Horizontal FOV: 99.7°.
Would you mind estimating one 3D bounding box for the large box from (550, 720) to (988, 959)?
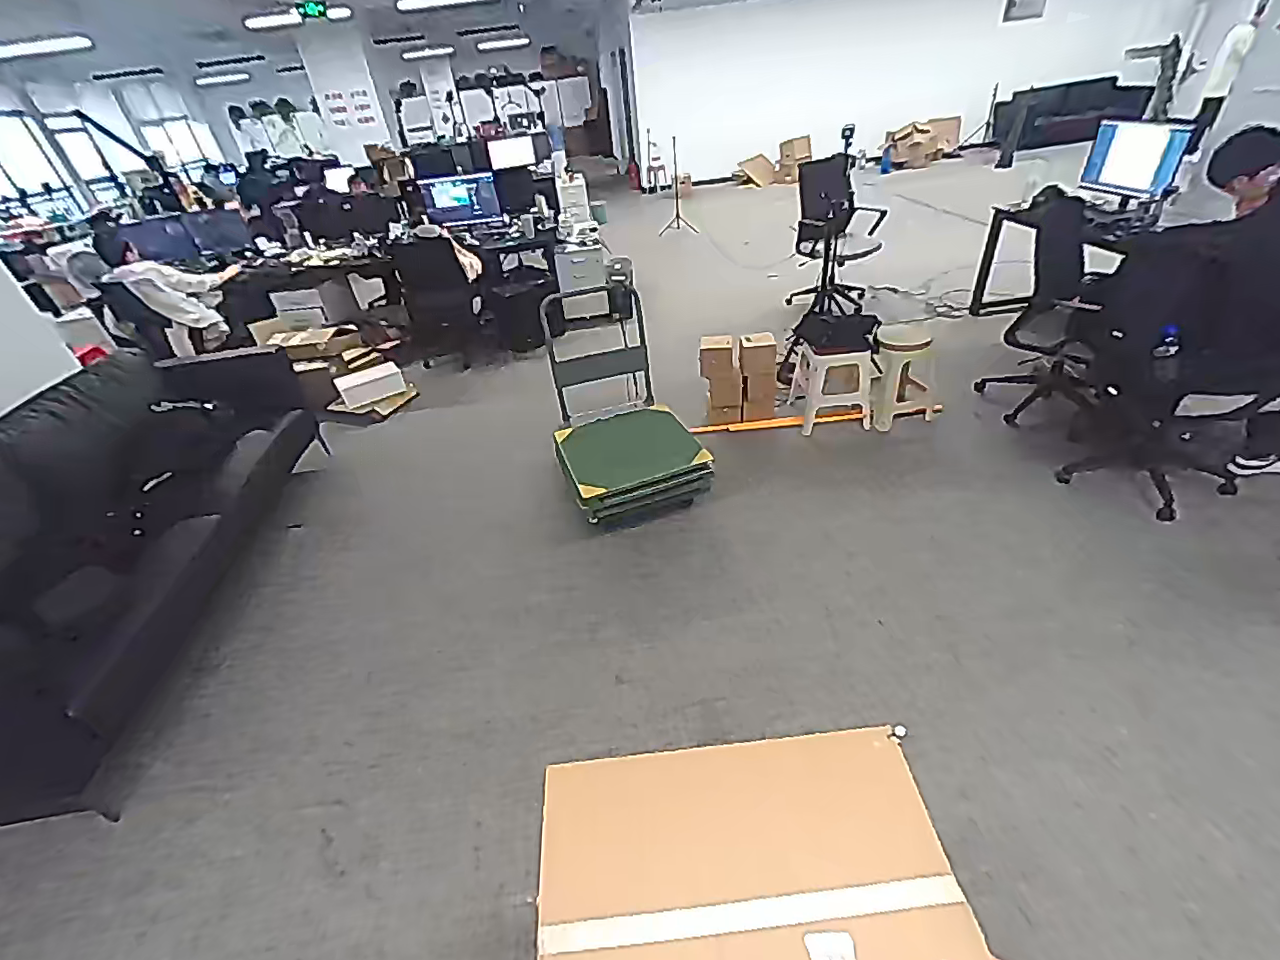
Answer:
[{"bbox_3d":[0.119,0.521,0.624,0.408,0.320,0.320,-7,44,-1],"label":"large box"}]
